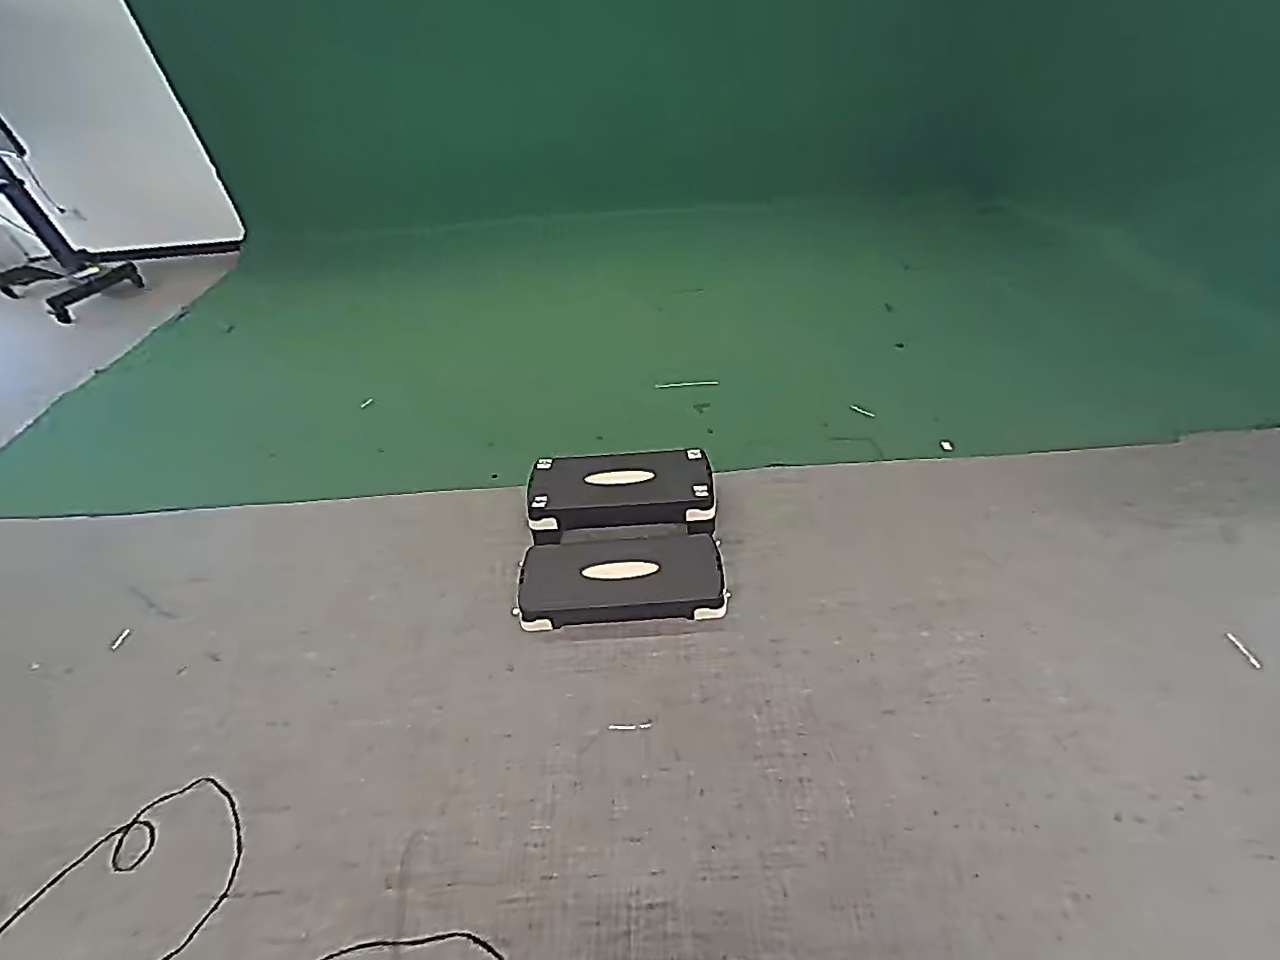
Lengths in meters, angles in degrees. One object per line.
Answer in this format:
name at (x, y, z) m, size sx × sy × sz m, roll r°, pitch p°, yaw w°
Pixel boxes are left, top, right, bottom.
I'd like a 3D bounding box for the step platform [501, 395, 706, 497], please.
step platform at (-0.116, -0.117, 1.873) m, size 0.684 × 0.204 × 0.286 m, roll -5°, pitch 44°, yaw 1°
